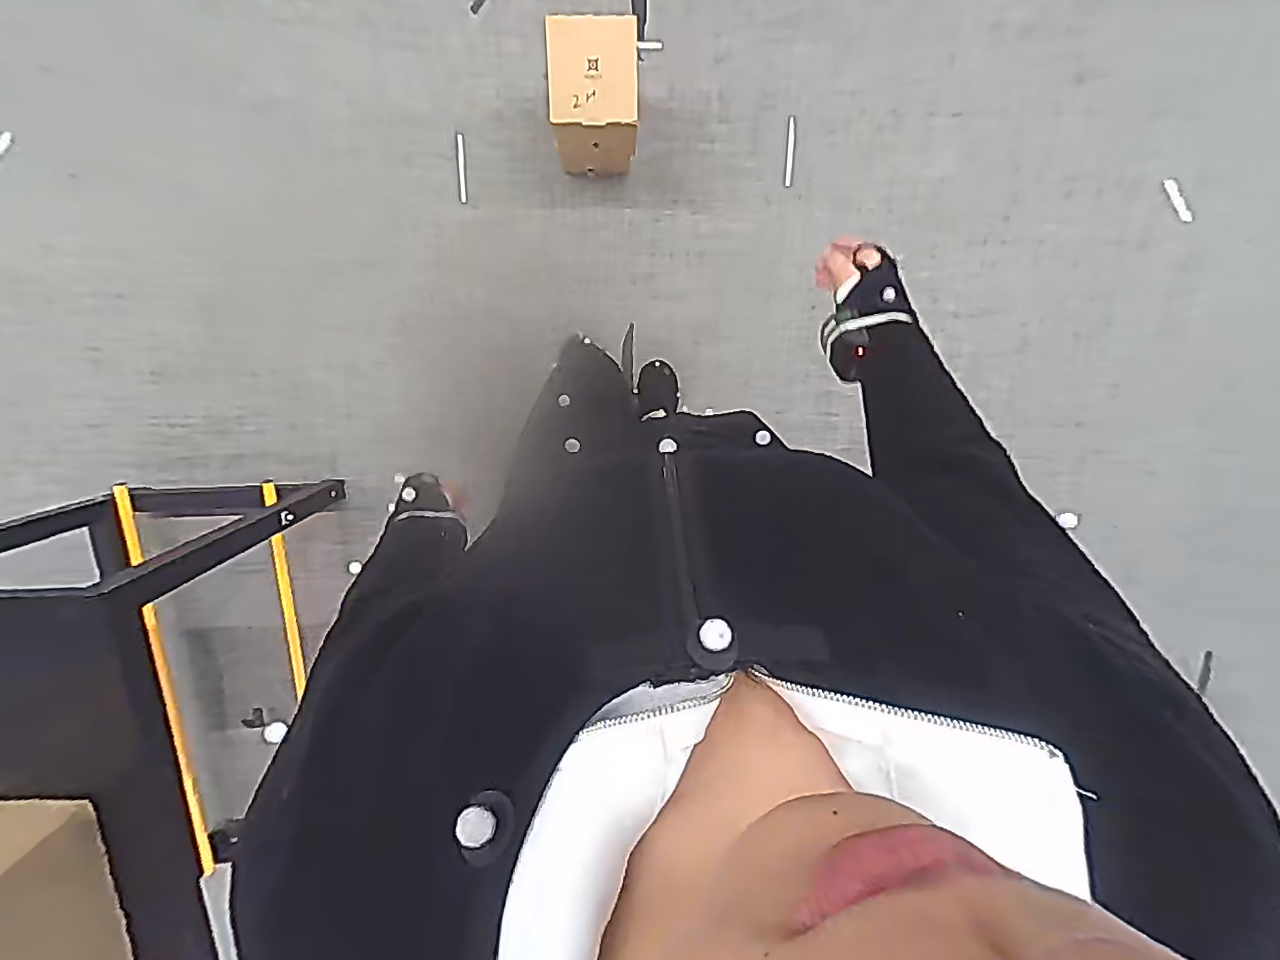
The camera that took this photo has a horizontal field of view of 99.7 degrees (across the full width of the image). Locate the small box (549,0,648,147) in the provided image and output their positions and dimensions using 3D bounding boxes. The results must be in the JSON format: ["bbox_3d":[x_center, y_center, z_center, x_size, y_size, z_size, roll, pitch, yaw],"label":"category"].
[{"bbox_3d":[-0.072,-0.733,0.980,0.168,0.176,0.179,-1,104,-1],"label":"small box"}]

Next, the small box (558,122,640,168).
[{"bbox_3d":[-0.086,-0.780,1.138,0.168,0.176,0.179,-2,105,-1],"label":"small box"}]
